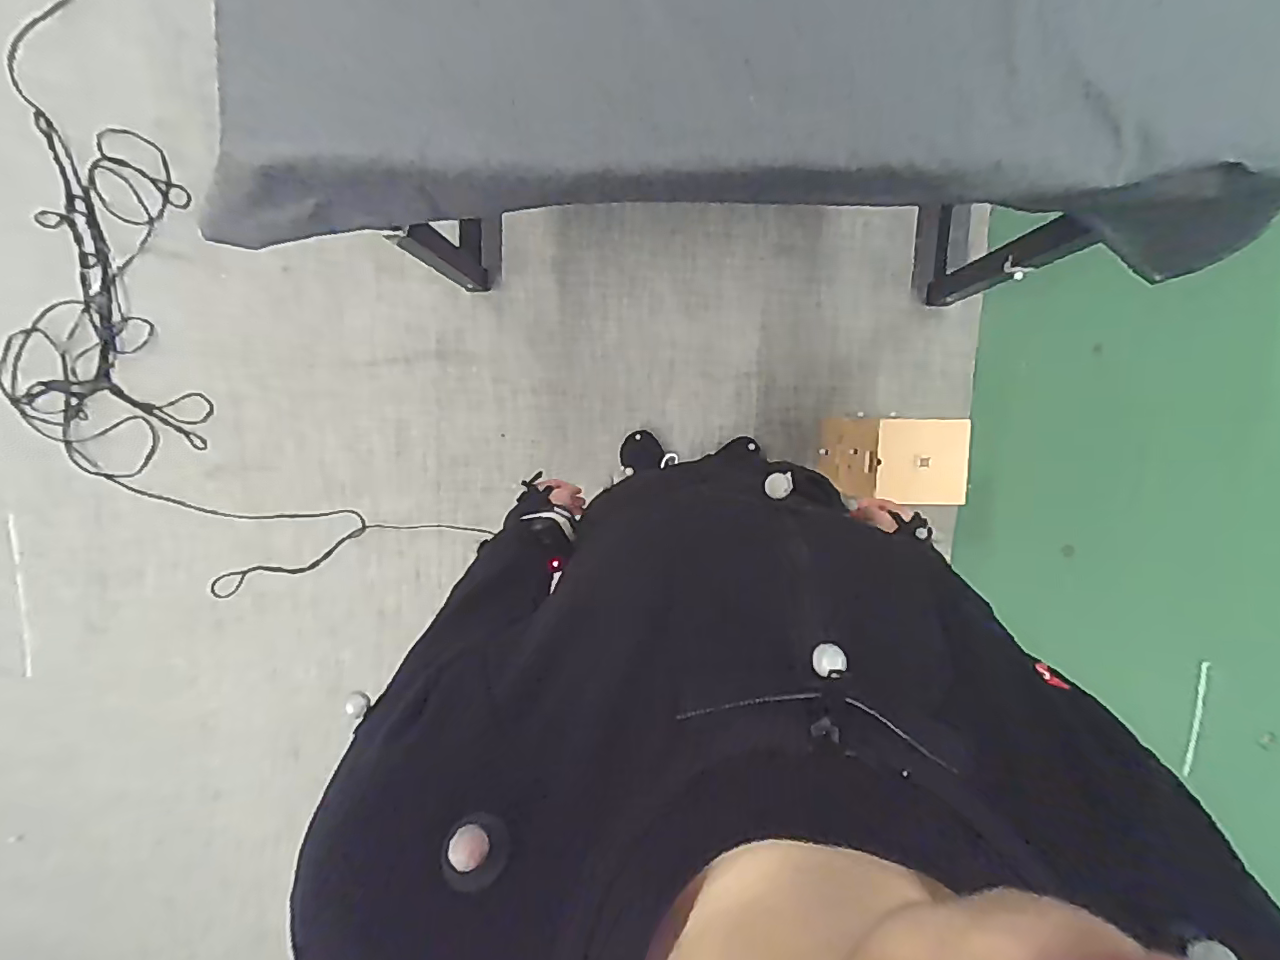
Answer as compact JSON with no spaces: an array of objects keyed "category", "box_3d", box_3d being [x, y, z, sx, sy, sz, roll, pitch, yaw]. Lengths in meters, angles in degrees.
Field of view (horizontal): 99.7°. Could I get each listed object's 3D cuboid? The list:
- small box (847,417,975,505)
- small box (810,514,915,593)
[{"category":"small box","box_3d":[0.542,-0.044,1.101,0.179,0.176,0.168,0,96,3]},{"category":"small box","box_3d":[0.523,0.180,1.292,0.179,0.176,0.168,7,95,4]}]
